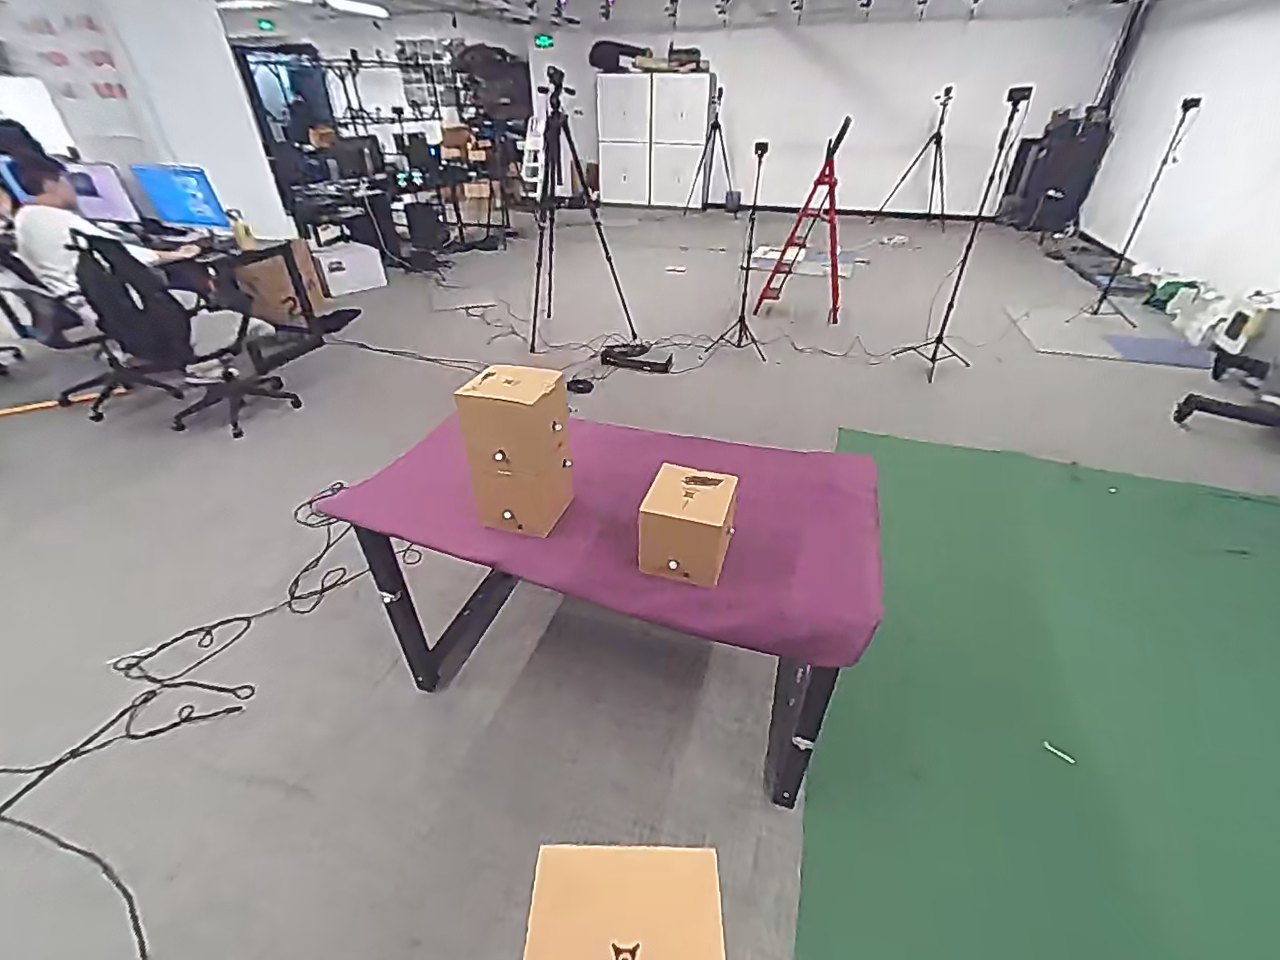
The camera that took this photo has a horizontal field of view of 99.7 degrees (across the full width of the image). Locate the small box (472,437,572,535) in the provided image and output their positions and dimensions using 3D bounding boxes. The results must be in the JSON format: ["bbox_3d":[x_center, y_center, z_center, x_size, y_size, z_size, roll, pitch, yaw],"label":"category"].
[{"bbox_3d":[-0.263,0.000,1.249,0.168,0.176,0.179,9,35,14],"label":"small box"}]

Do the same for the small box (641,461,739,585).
[{"bbox_3d":[0.102,0.087,1.125,0.168,0.176,0.179,10,37,15],"label":"small box"}]

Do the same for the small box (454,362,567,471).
[{"bbox_3d":[-0.264,-0.135,1.156,0.179,0.176,0.168,10,34,13],"label":"small box"}]

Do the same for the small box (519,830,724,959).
[{"bbox_3d":[-0.017,0.442,0.479,0.168,0.176,0.179,1,39,1],"label":"small box"}]
